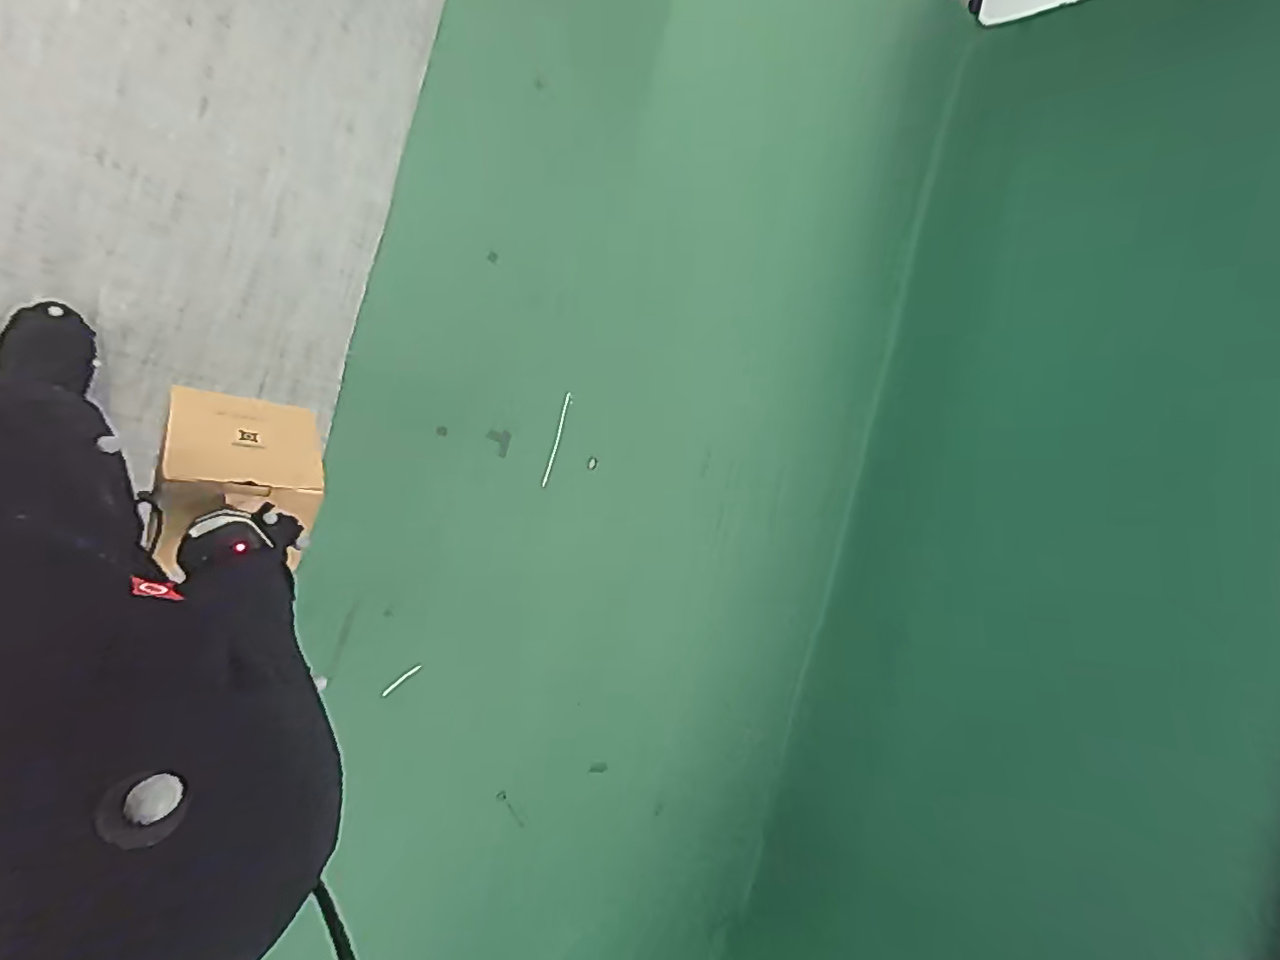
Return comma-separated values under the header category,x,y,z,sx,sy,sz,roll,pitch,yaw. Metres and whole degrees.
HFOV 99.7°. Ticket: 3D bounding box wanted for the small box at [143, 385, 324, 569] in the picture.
category,x,y,z,sx,sy,sz,roll,pitch,yaw
small box,-0.549,0.005,0.734,0.168,0.179,0.176,11,126,-44
